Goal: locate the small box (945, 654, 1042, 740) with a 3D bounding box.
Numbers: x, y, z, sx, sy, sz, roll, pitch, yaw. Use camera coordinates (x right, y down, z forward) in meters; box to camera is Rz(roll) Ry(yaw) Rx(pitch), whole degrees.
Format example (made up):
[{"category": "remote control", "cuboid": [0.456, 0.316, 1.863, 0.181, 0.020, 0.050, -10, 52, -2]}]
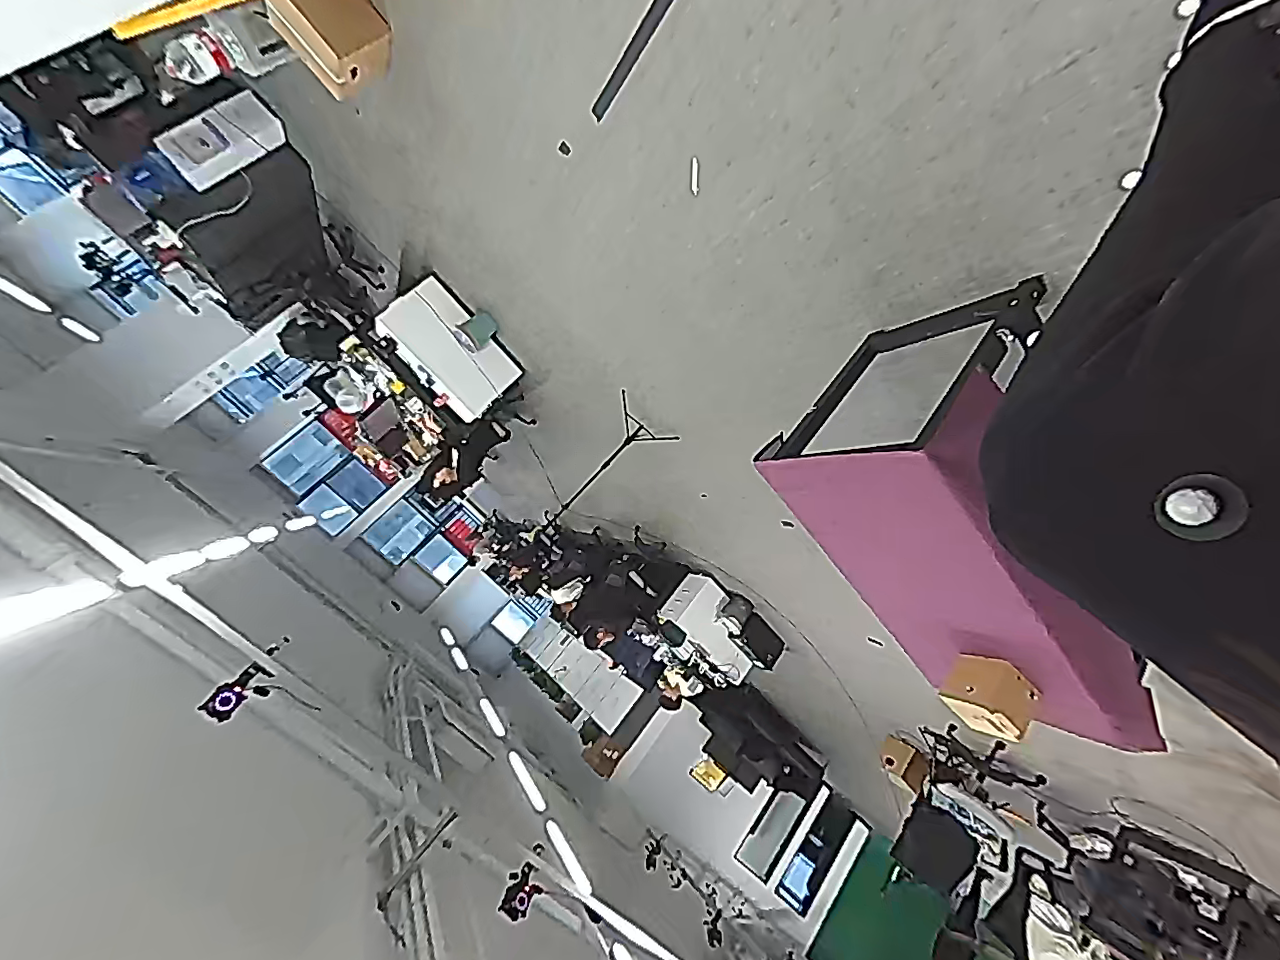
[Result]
[{"category": "small box", "cuboid": [1.099, 0.662, 1.673, 0.168, 0.176, 0.179, 44, 161, -6]}]
